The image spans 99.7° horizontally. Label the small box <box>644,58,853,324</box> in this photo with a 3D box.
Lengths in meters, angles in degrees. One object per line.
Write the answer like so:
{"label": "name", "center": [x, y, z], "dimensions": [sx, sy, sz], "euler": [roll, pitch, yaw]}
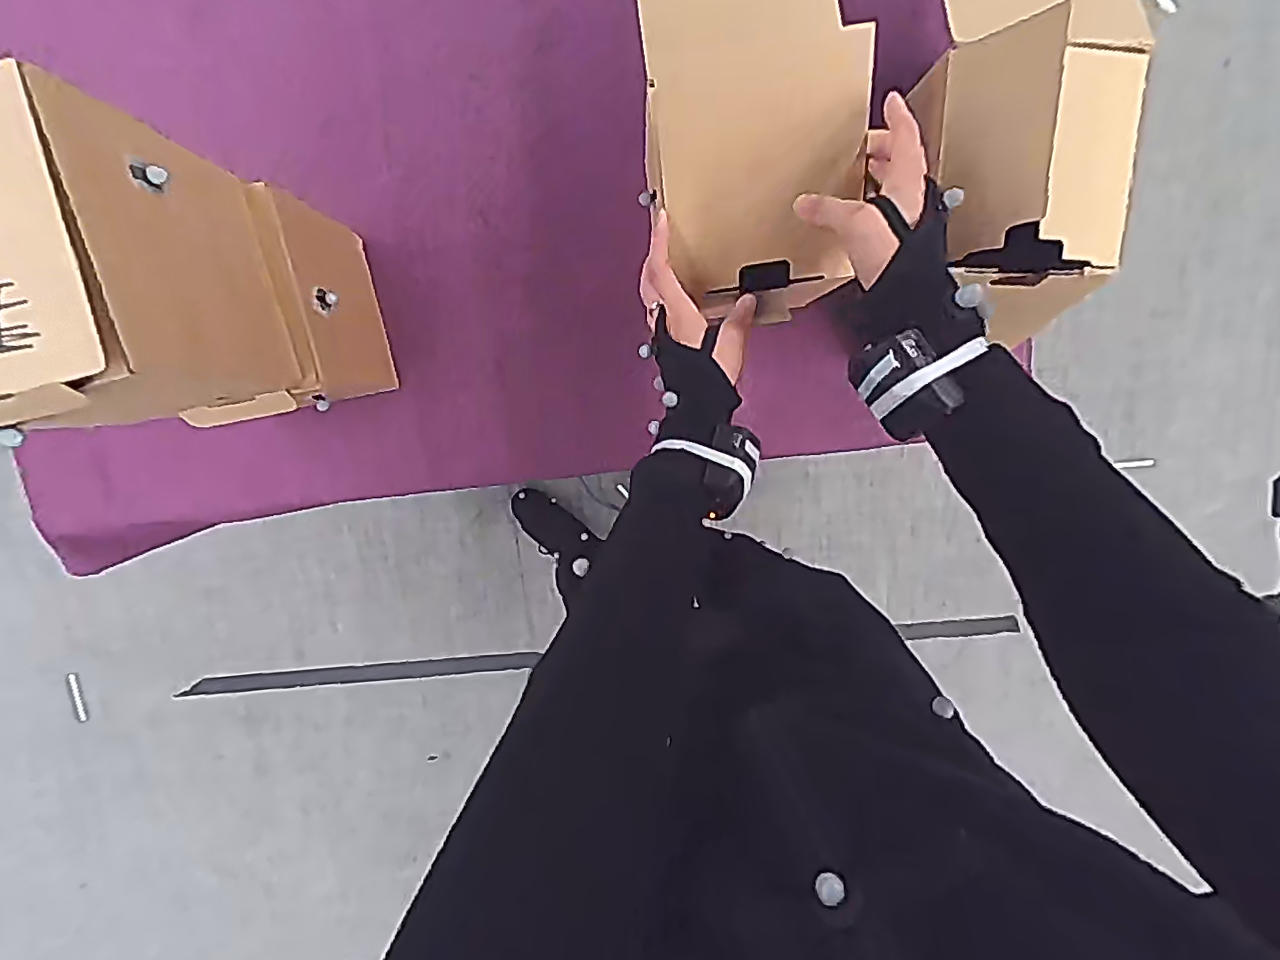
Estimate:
{"label": "small box", "center": [0.093, -0.262, 0.532], "dimensions": [0.168, 0.176, 0.179], "euler": [-7, 99, 2]}

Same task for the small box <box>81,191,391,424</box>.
{"label": "small box", "center": [-0.381, -0.161, 0.550], "dimensions": [0.168, 0.176, 0.179], "euler": [-10, 99, 1]}
